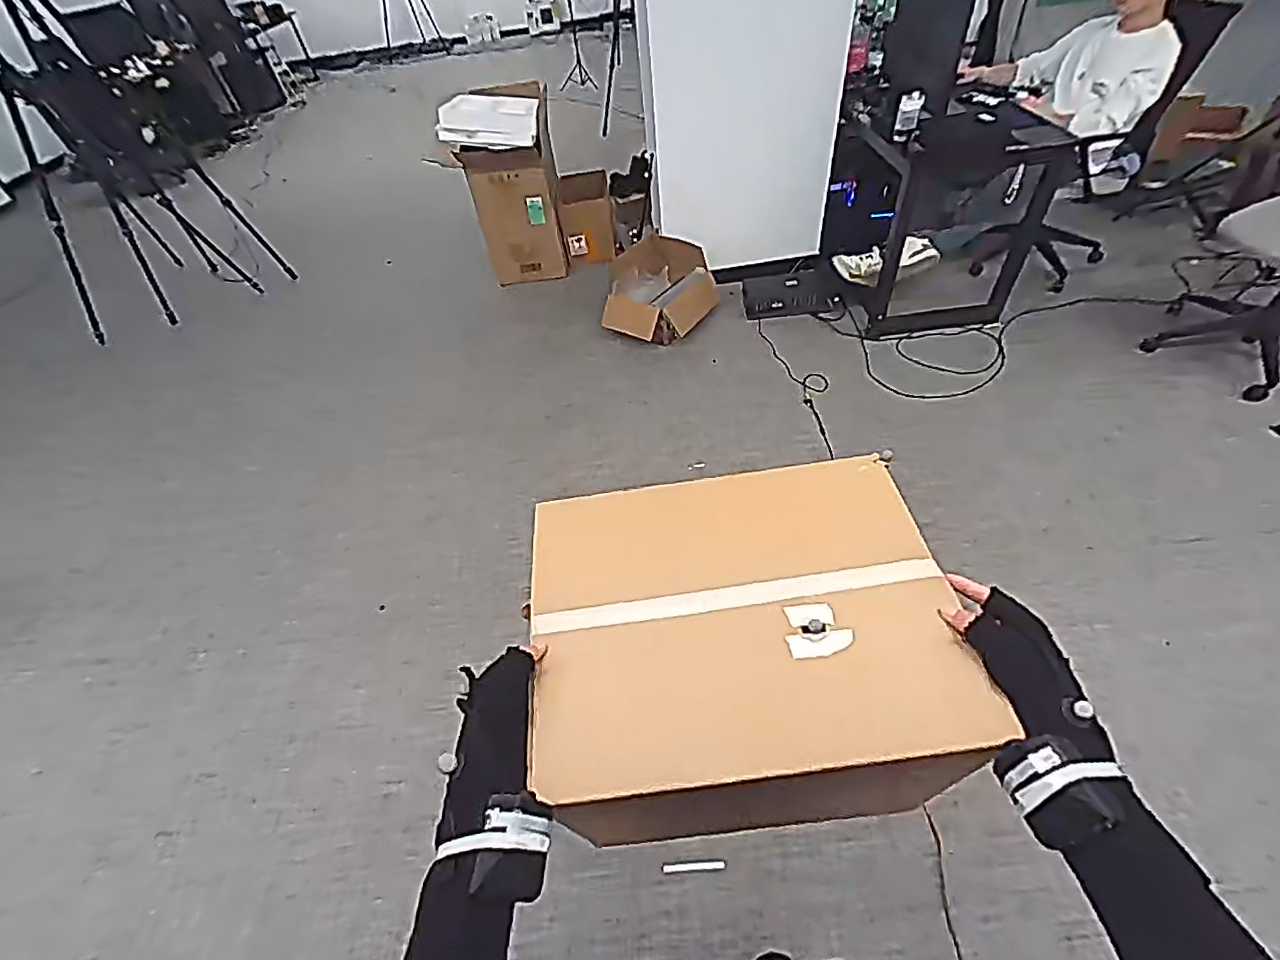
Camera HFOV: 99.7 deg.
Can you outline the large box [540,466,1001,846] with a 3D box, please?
[{"bbox_3d":[0.108,0.223,0.663,0.408,0.320,0.320,-8,51,1],"label":"large box"}]
